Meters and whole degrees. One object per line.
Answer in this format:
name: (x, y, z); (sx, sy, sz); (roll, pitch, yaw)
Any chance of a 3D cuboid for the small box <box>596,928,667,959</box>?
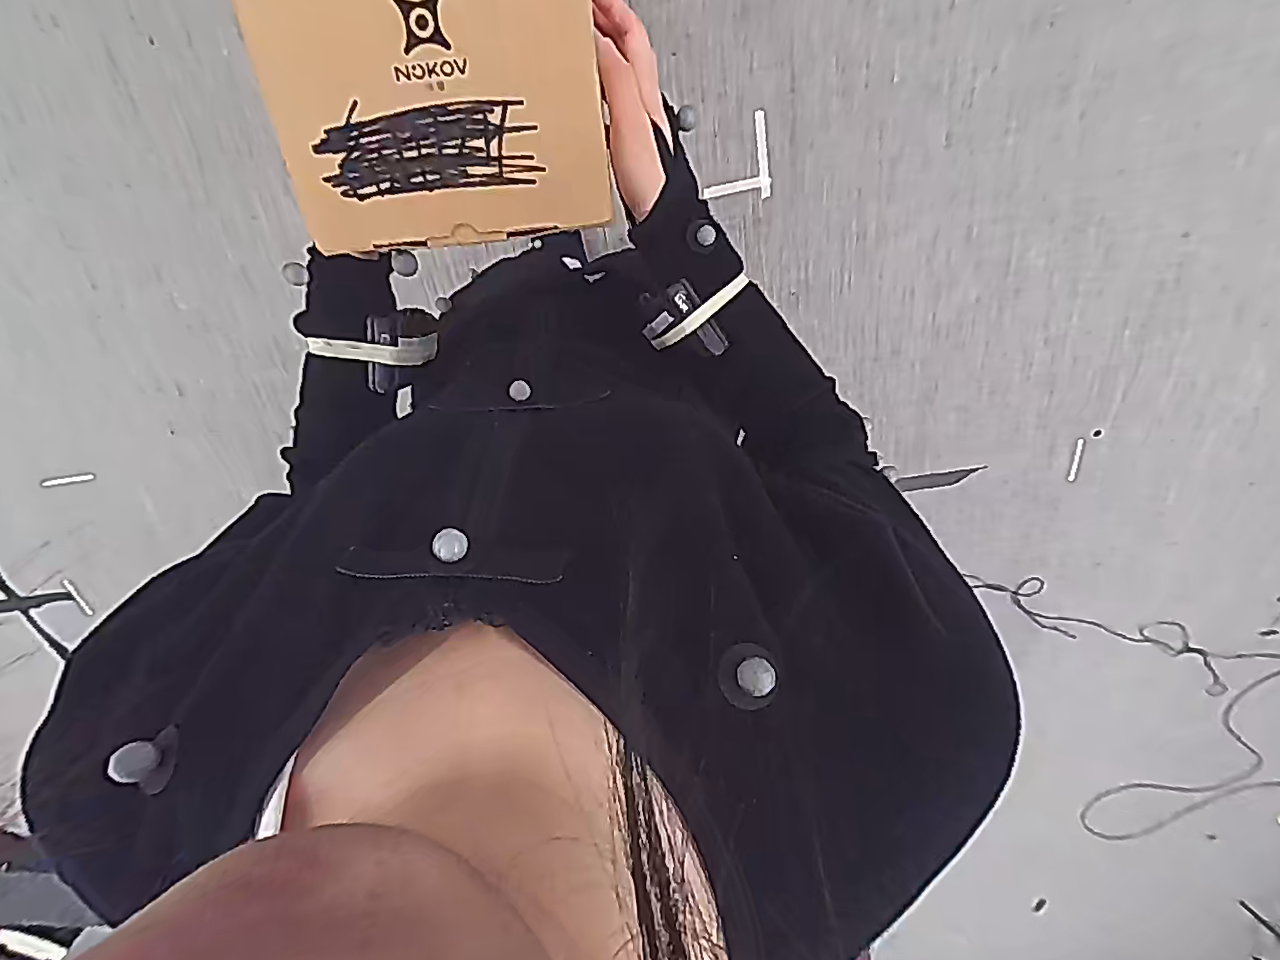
small box: (-0.014, 1.224, 1.303); (0.168, 0.176, 0.179); (-7, 117, -1)
